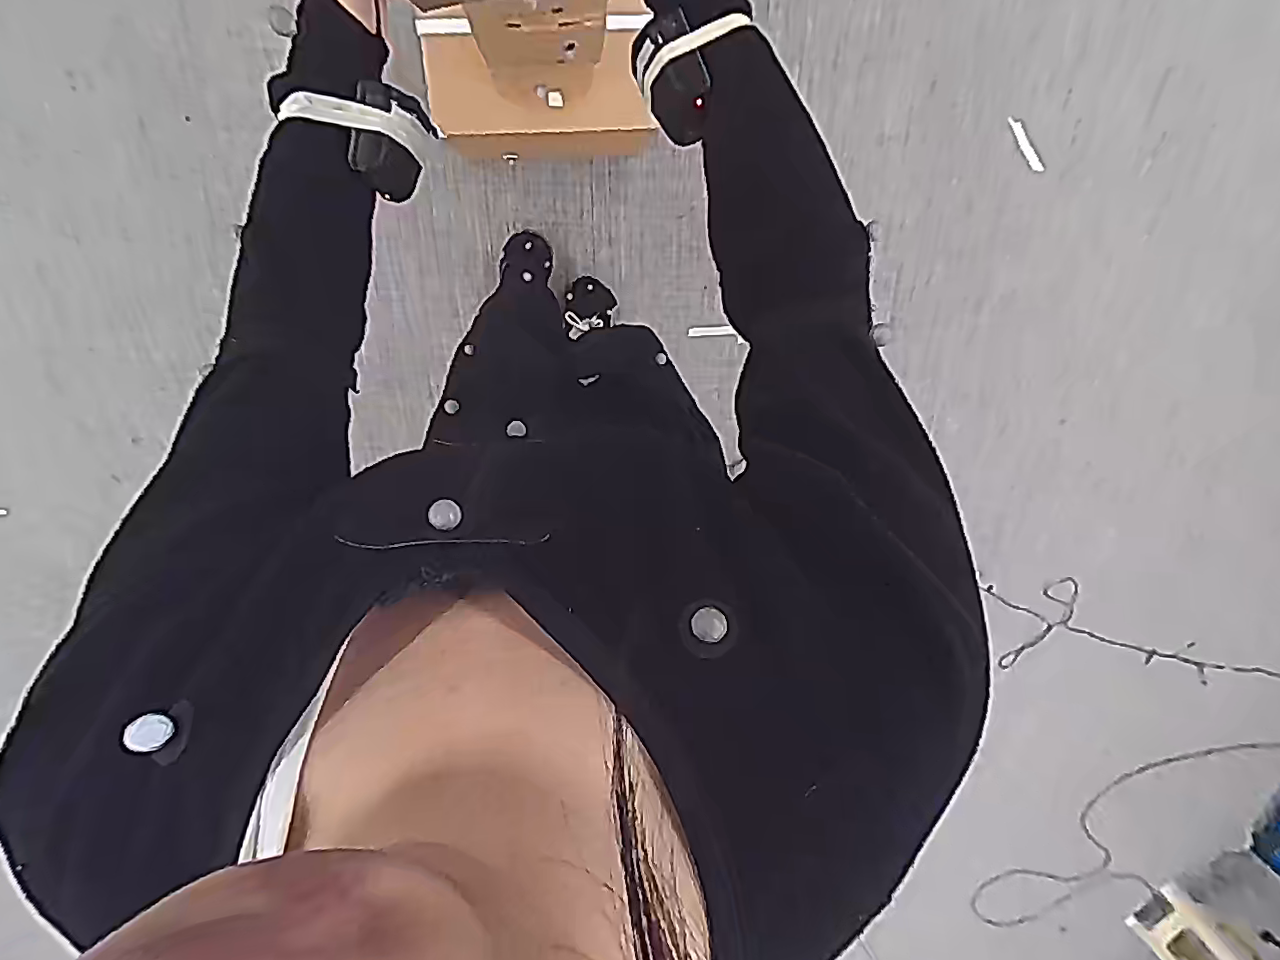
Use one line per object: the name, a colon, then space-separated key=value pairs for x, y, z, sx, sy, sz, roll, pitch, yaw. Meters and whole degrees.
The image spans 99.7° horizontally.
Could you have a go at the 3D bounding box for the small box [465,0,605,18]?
small box: x=-0.118 y=-0.590 z=0.530 sx=0.168 sy=0.176 sz=0.179 roll=-11 pitch=114 yaw=-4

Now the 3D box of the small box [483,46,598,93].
small box: x=-0.156 y=-0.720 z=0.827 sx=0.168 sy=0.176 sz=0.179 roll=-5 pitch=114 yaw=-5

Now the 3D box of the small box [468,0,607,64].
small box: x=-0.133 y=-0.652 z=0.682 sx=0.168 sy=0.176 sz=0.179 roll=-7 pitch=113 yaw=-5
